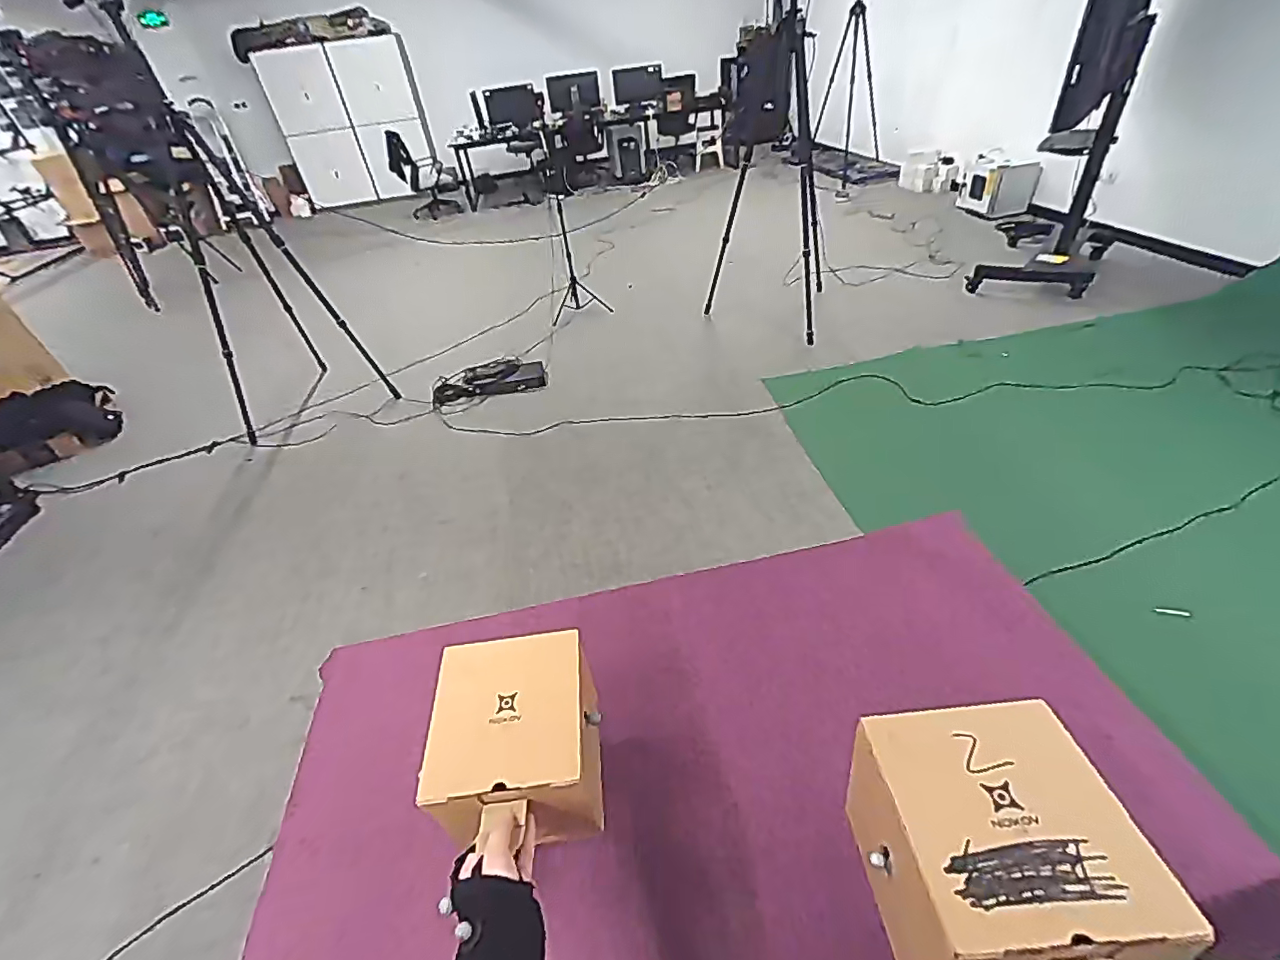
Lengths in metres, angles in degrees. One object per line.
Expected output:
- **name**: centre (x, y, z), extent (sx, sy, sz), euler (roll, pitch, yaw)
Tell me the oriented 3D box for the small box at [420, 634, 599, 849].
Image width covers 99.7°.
- **small box**: centre (-0.143, 0.316, 0.657), extent (0.168, 0.176, 0.179), euler (-8, 43, -1)
